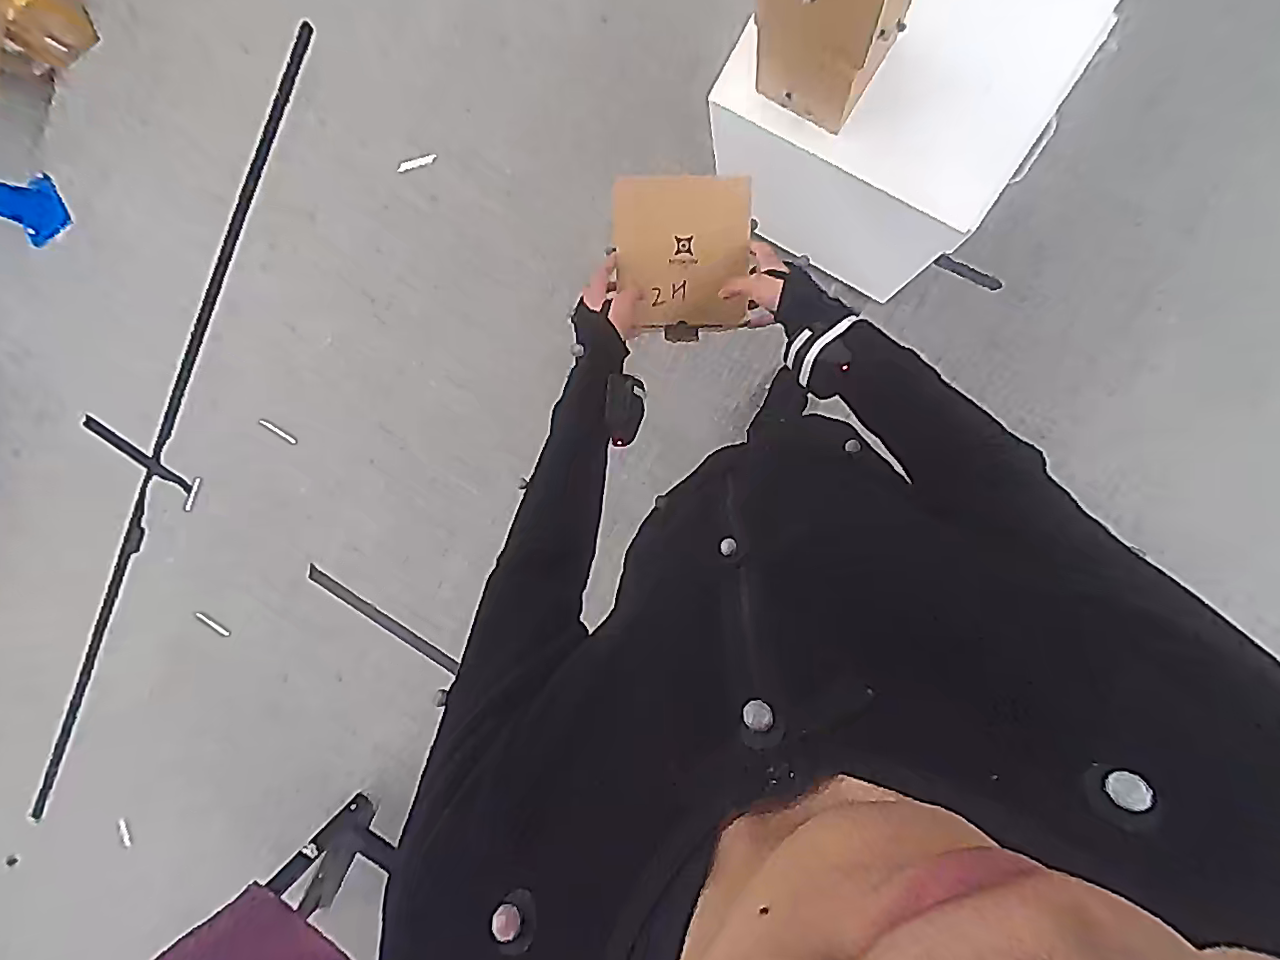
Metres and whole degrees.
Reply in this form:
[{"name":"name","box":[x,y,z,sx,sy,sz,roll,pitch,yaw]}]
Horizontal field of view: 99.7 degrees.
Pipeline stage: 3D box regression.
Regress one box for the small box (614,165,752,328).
[{"name":"small box","box":[0.048,-0.301,0.730,0.168,0.176,0.179,0,104,-1]}]

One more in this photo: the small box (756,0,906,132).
[{"name":"small box","box":[0.290,-0.697,0.838,0.168,0.176,0.179,33,101,6]}]

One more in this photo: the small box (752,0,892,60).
[{"name":"small box","box":[0.255,-0.682,0.678,0.179,0.176,0.168,29,99,8]}]
